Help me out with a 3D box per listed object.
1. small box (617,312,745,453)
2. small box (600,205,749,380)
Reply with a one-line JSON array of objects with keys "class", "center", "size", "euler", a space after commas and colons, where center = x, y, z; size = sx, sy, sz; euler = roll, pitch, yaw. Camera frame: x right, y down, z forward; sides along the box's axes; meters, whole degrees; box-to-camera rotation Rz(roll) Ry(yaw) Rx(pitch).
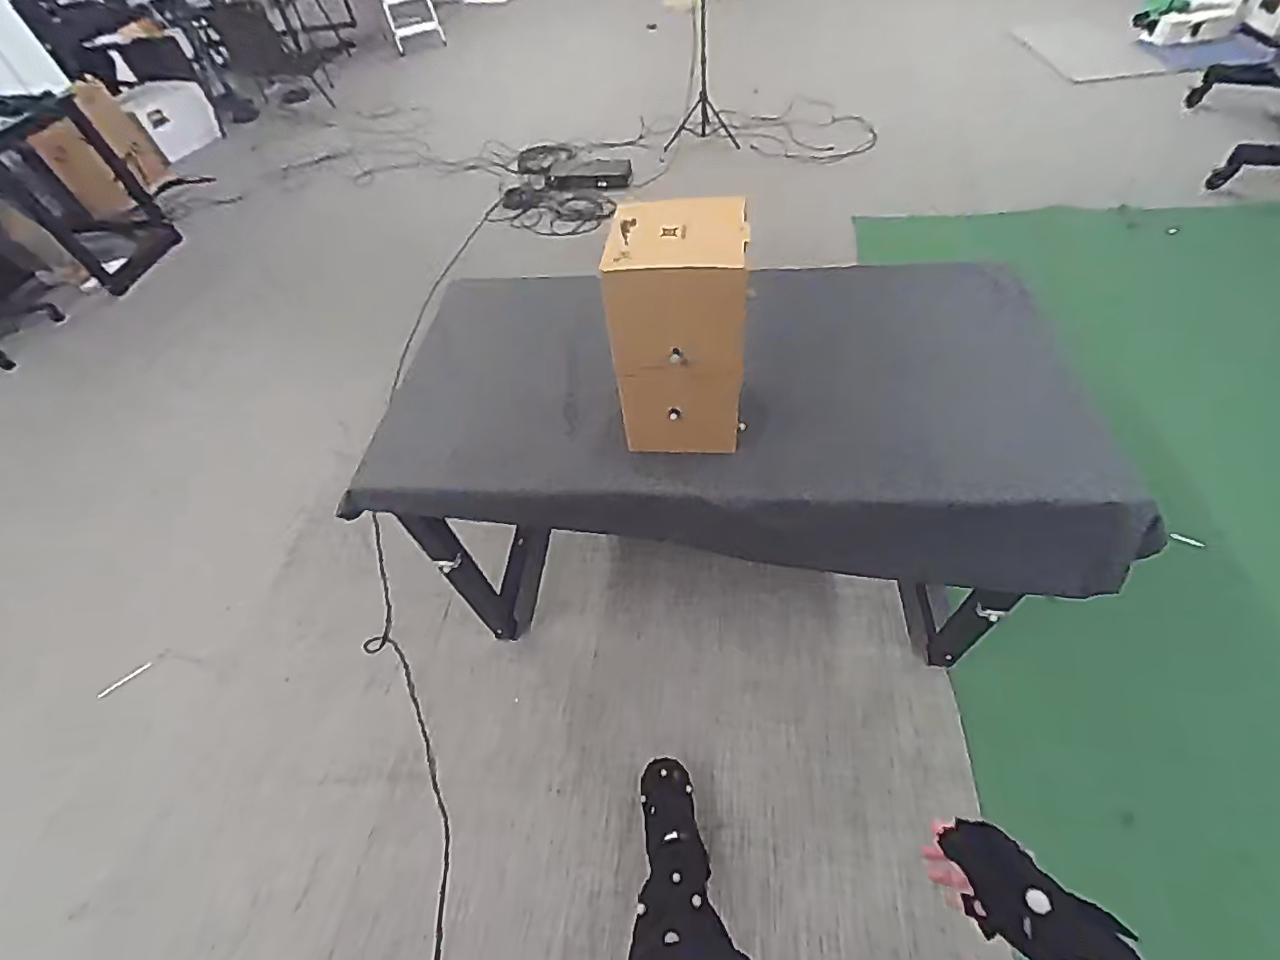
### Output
[{"class": "small box", "center": [0.072, -0.158, 0.873], "size": [0.179, 0.176, 0.168], "euler": [4, 51, 10]}, {"class": "small box", "center": [0.054, -0.253, 0.744], "size": [0.179, 0.176, 0.168], "euler": [3, 53, 9]}]
